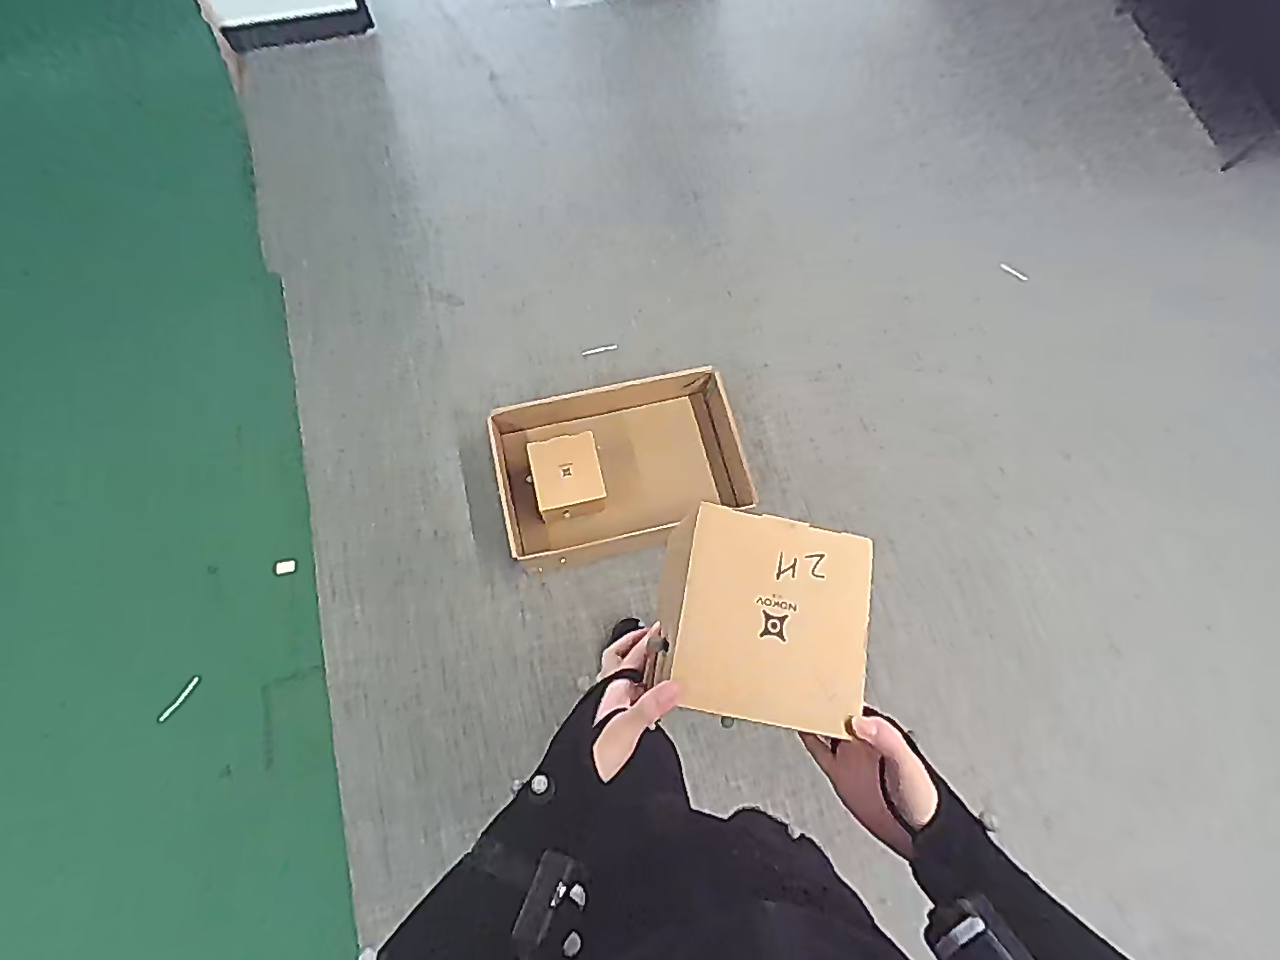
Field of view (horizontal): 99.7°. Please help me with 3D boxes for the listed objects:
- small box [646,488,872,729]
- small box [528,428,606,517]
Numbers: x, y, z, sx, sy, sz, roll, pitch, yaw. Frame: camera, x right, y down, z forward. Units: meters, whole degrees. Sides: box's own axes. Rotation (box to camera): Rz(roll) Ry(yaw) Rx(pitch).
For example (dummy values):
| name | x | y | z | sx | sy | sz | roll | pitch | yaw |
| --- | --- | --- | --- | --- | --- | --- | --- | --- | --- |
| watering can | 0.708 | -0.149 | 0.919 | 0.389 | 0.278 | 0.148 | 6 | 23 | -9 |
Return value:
| name | x | y | z | sx | sy | sz | roll | pitch | yaw |
| --- | --- | --- | --- | --- | --- | --- | --- | --- | --- |
| small box | 0.105 | 0.127 | 0.539 | 0.168 | 0.176 | 0.179 | 13 | 72 | -3 |
| small box | -0.181 | -0.010 | 1.383 | 0.168 | 0.176 | 0.179 | -12 | 75 | -7 |
